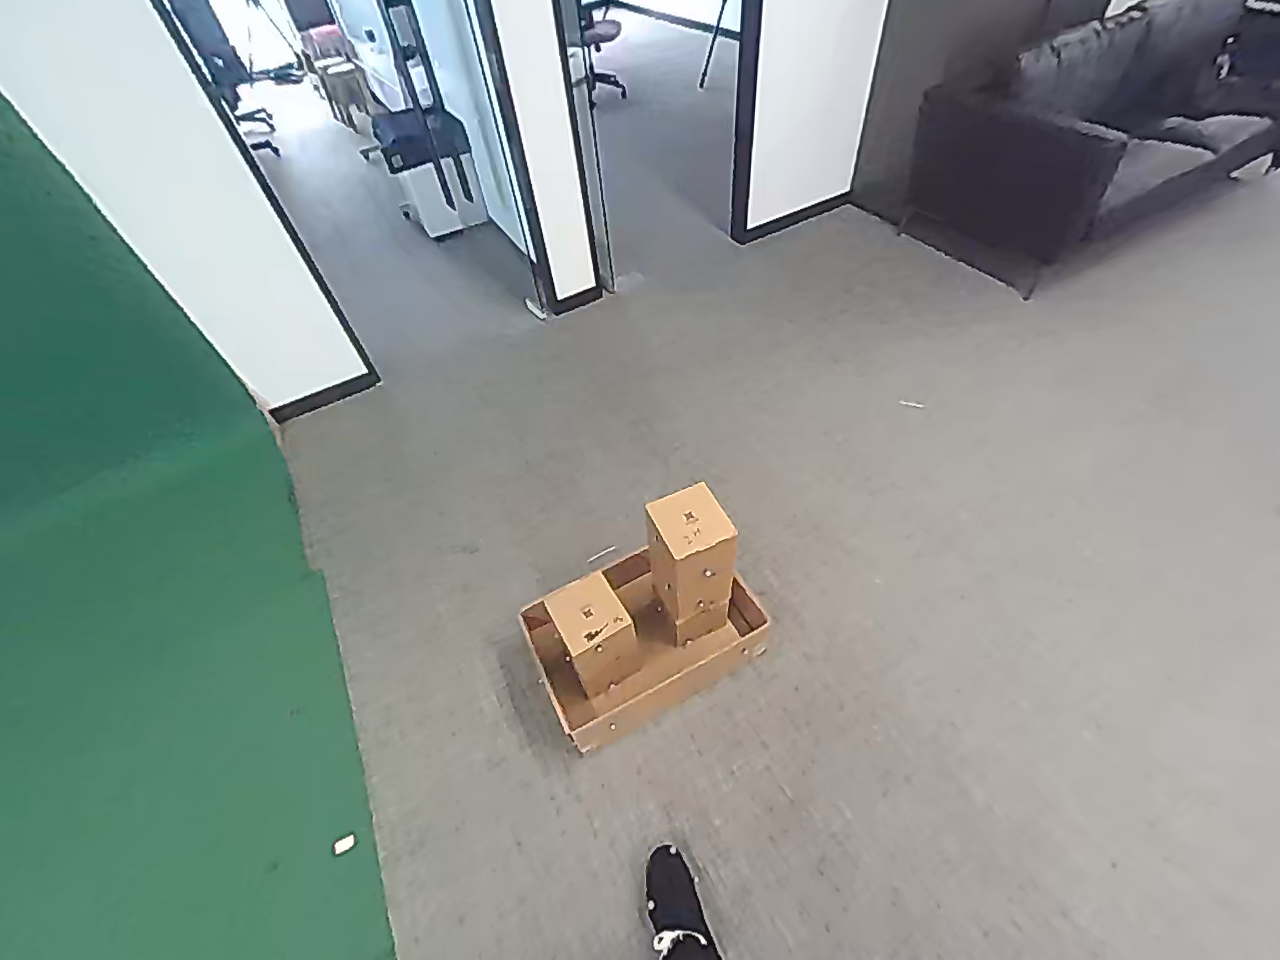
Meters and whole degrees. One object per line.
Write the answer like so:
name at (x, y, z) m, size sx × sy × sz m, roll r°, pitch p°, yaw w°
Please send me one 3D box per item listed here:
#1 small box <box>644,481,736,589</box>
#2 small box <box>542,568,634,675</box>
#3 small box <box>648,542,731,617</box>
small box at (0.119, 0.138, 1.344) m, size 0.168 × 0.176 × 0.179 m, roll -21°, pitch 54°, yaw -12°
small box at (-0.130, 0.367, 1.392) m, size 0.168 × 0.176 × 0.179 m, roll -27°, pitch 53°, yaw -16°
small box at (0.128, 0.240, 1.474) m, size 0.168 × 0.176 × 0.179 m, roll -21°, pitch 54°, yaw -13°
